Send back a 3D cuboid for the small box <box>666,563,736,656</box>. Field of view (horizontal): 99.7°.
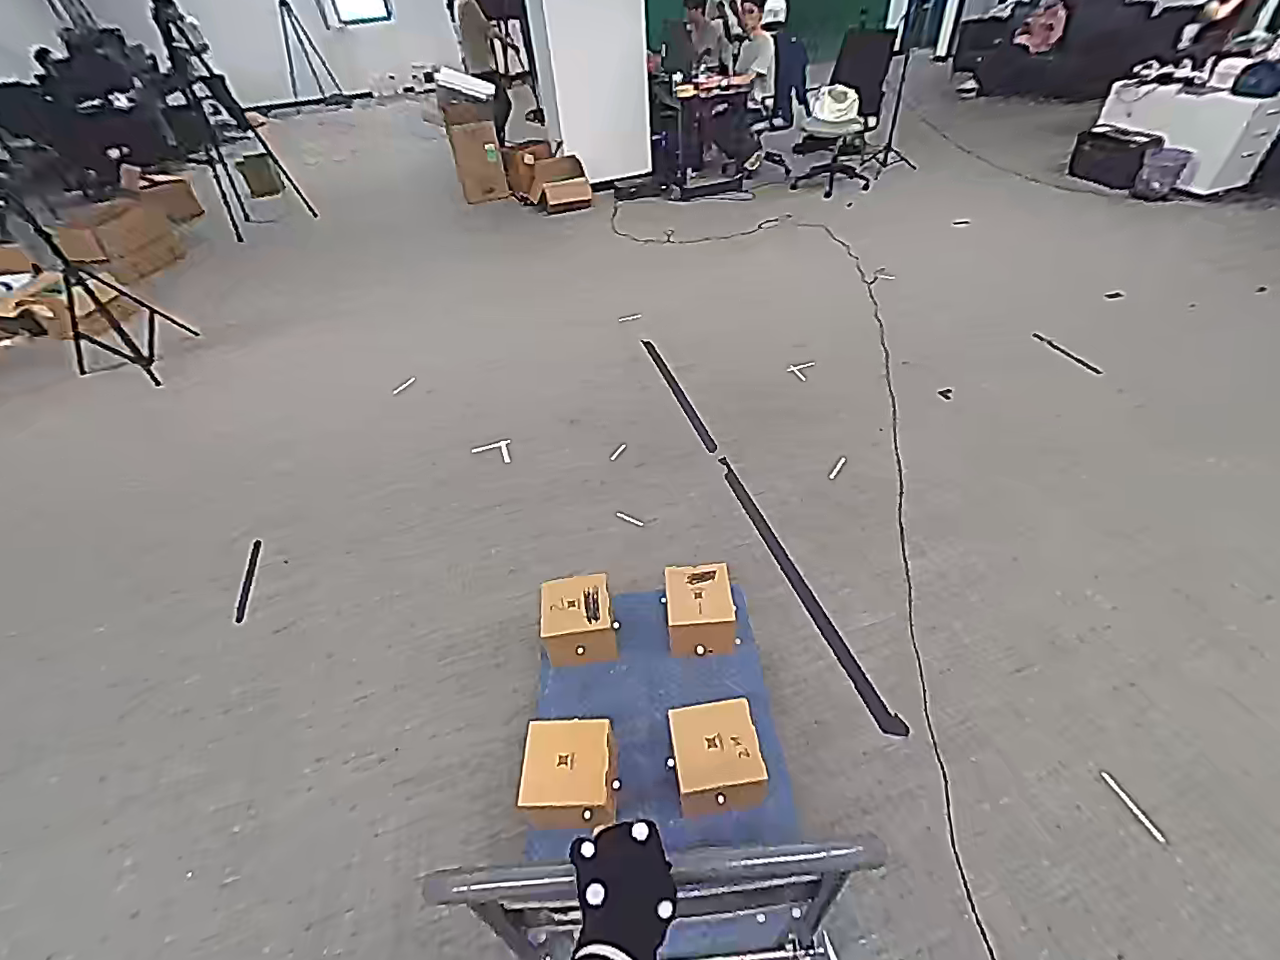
[{"bbox_3d":[0.155,0.342,1.427,0.168,0.176,0.179,-5,45,1],"label":"small box"}]

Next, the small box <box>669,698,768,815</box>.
[{"bbox_3d":[0.164,0.596,1.162,0.179,0.176,0.168,-8,44,-2],"label":"small box"}]

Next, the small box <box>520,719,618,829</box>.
[{"bbox_3d":[-0.143,0.633,1.159,0.179,0.176,0.168,-2,43,1],"label":"small box"}]
